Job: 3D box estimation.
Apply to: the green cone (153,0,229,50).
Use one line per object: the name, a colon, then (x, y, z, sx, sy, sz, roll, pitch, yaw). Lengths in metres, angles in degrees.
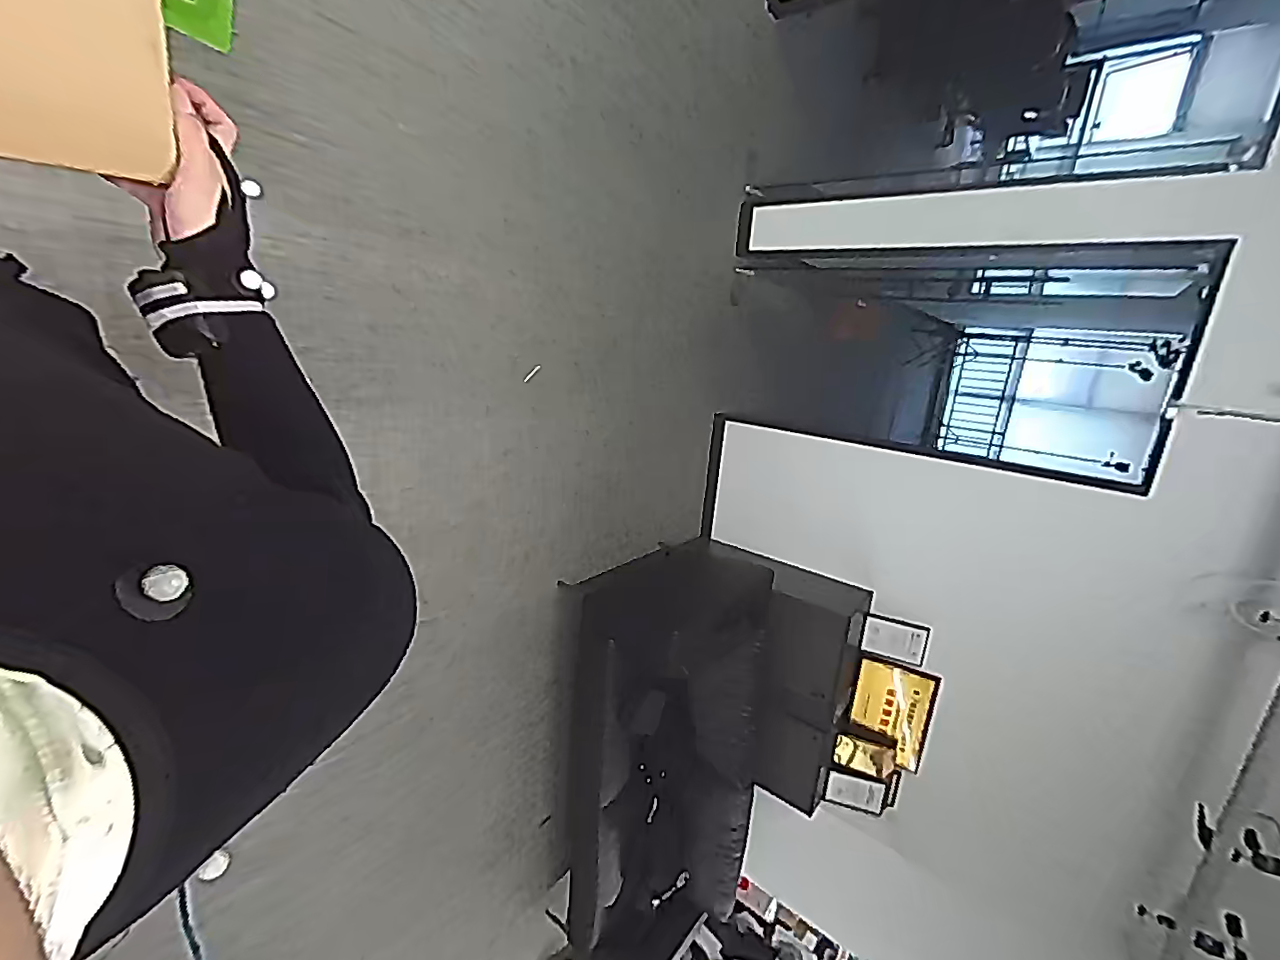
green cone: (-0.848, -1.023, 1.035, 0.200, 0.368, 0.202, -5, 105, -53)
